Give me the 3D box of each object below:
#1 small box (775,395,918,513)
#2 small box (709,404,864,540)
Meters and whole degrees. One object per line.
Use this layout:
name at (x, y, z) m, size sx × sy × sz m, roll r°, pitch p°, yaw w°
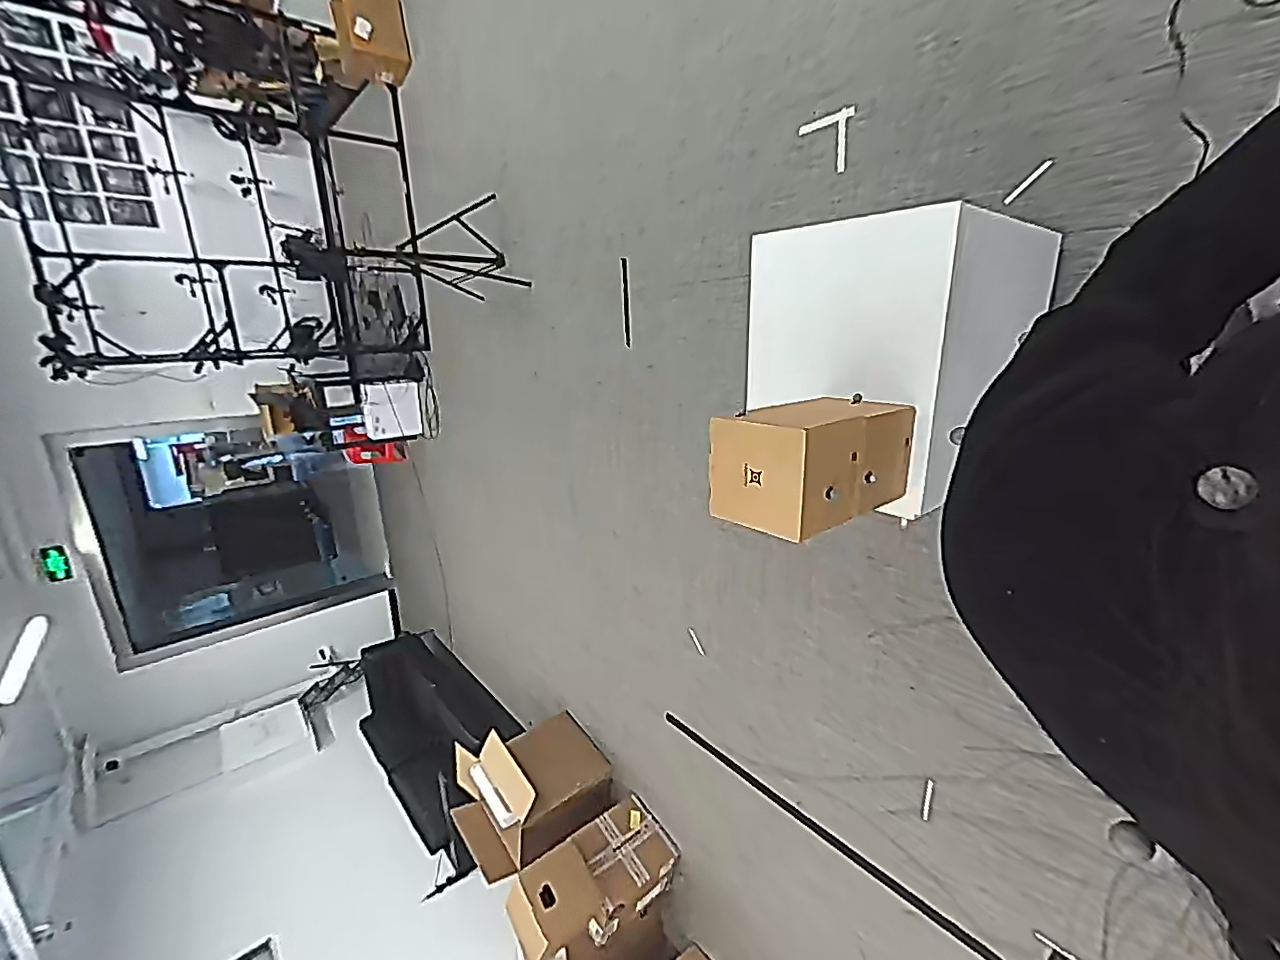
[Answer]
small box at (0.353, -0.056, 0.950) m, size 0.179 × 0.176 × 0.168 m, roll 18°, pitch 115°, yaw 49°
small box at (0.229, -0.025, 0.848) m, size 0.179 × 0.176 × 0.168 m, roll 16°, pitch 114°, yaw 48°
